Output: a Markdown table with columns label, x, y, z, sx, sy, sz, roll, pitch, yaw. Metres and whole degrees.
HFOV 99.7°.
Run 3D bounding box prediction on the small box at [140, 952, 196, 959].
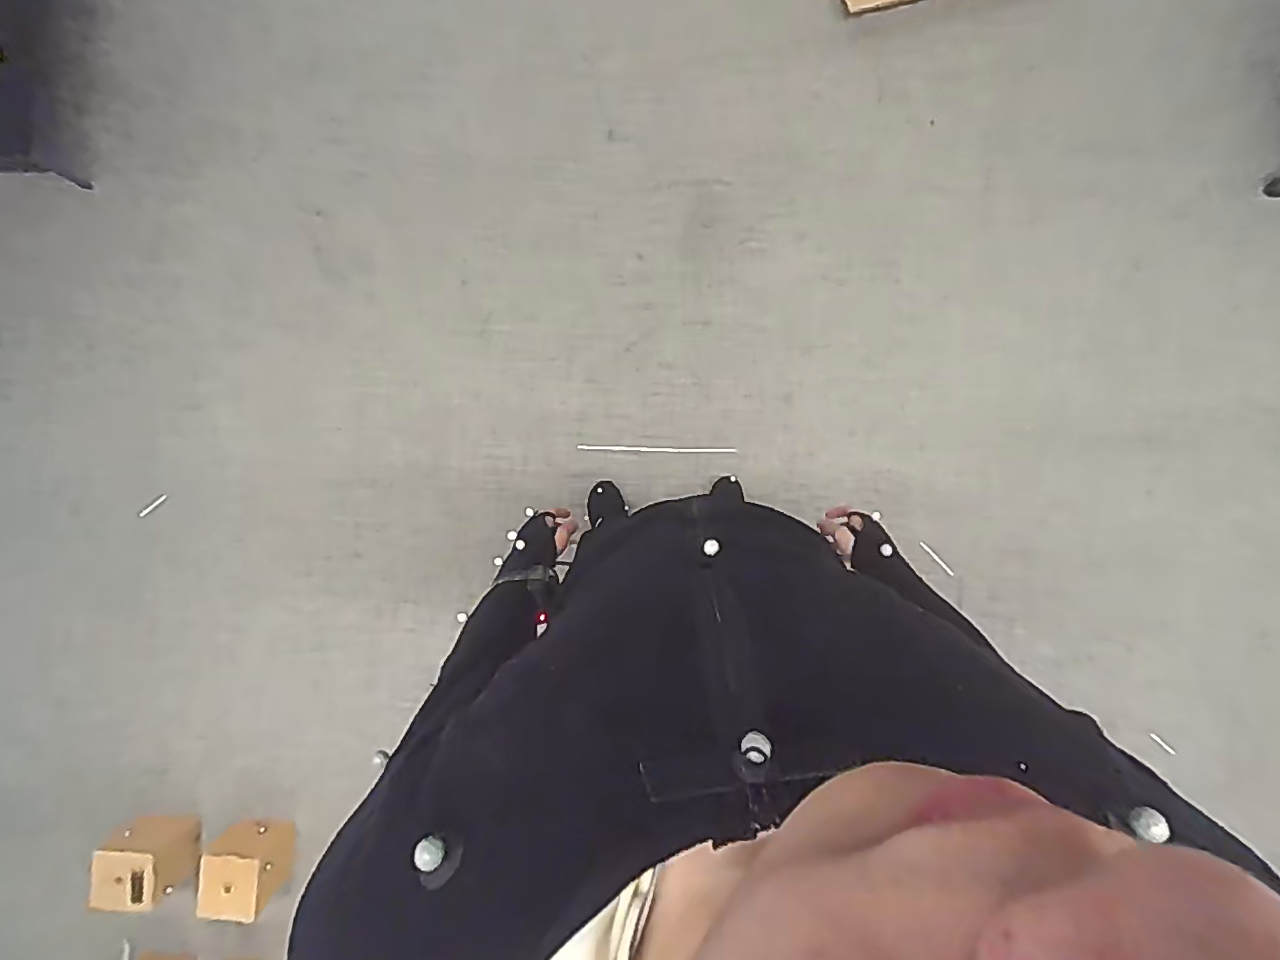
| label | x | y | z | sx | sy | sz | roll | pitch | yaw |
| --- | --- | --- | --- | --- | --- | --- | --- | --- | --- |
| small box | -1.452 | 1.541 | 1.587 | 0.179 | 0.176 | 0.168 | 4 | 90 | 2 |

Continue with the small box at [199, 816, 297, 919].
| label | x | y | z | sx | sy | sz | roll | pitch | yaw |
| --- | --- | --- | --- | --- | --- | --- | --- | --- | --- |
| small box | -1.138 | 1.126 | 1.580 | 0.168 | 0.176 | 0.179 | 4 | 90 | 1 |
